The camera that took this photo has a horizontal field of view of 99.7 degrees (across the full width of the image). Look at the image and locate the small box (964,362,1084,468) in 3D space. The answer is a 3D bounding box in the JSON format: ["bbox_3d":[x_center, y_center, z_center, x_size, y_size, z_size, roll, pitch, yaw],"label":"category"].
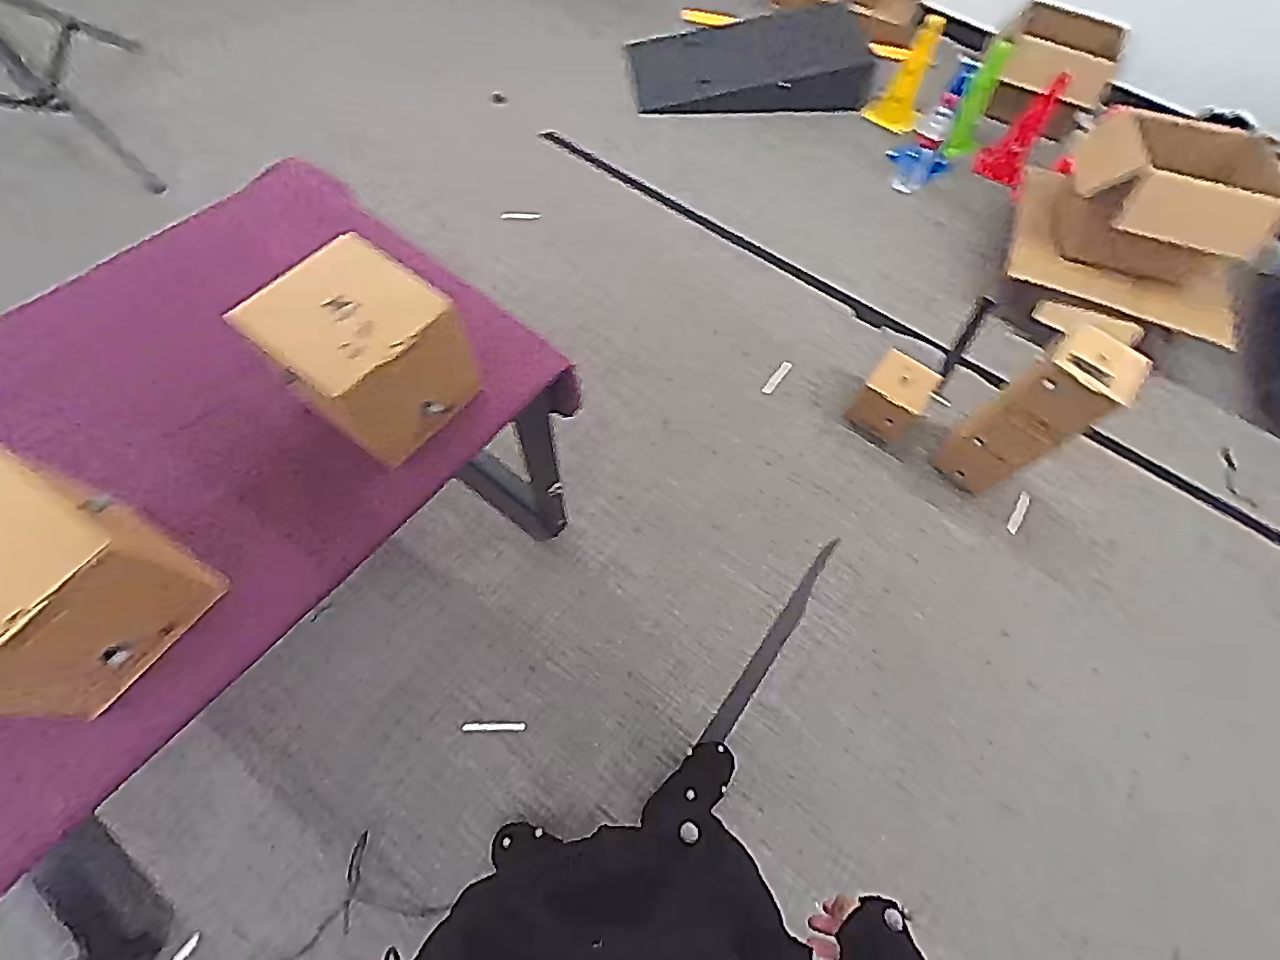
[{"bbox_3d":[0.987,-0.162,1.407,0.168,0.176,0.179,38,67,12],"label":"small box"}]

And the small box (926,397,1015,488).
[{"bbox_3d":[0.976,-0.099,1.559,0.179,0.176,0.168,40,68,12],"label":"small box"}]

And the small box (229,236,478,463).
[{"bbox_3d":[-0.329,-0.149,0.660,0.179,0.176,0.168,35,68,11],"label":"small box"}]

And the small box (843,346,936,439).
[{"bbox_3d":[0.734,-0.254,1.611,0.168,0.176,0.179,34,66,10],"label":"small box"}]

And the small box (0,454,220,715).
[{"bbox_3d":[-0.575,0.110,0.520,0.179,0.176,0.168,32,67,9],"label":"small box"}]
